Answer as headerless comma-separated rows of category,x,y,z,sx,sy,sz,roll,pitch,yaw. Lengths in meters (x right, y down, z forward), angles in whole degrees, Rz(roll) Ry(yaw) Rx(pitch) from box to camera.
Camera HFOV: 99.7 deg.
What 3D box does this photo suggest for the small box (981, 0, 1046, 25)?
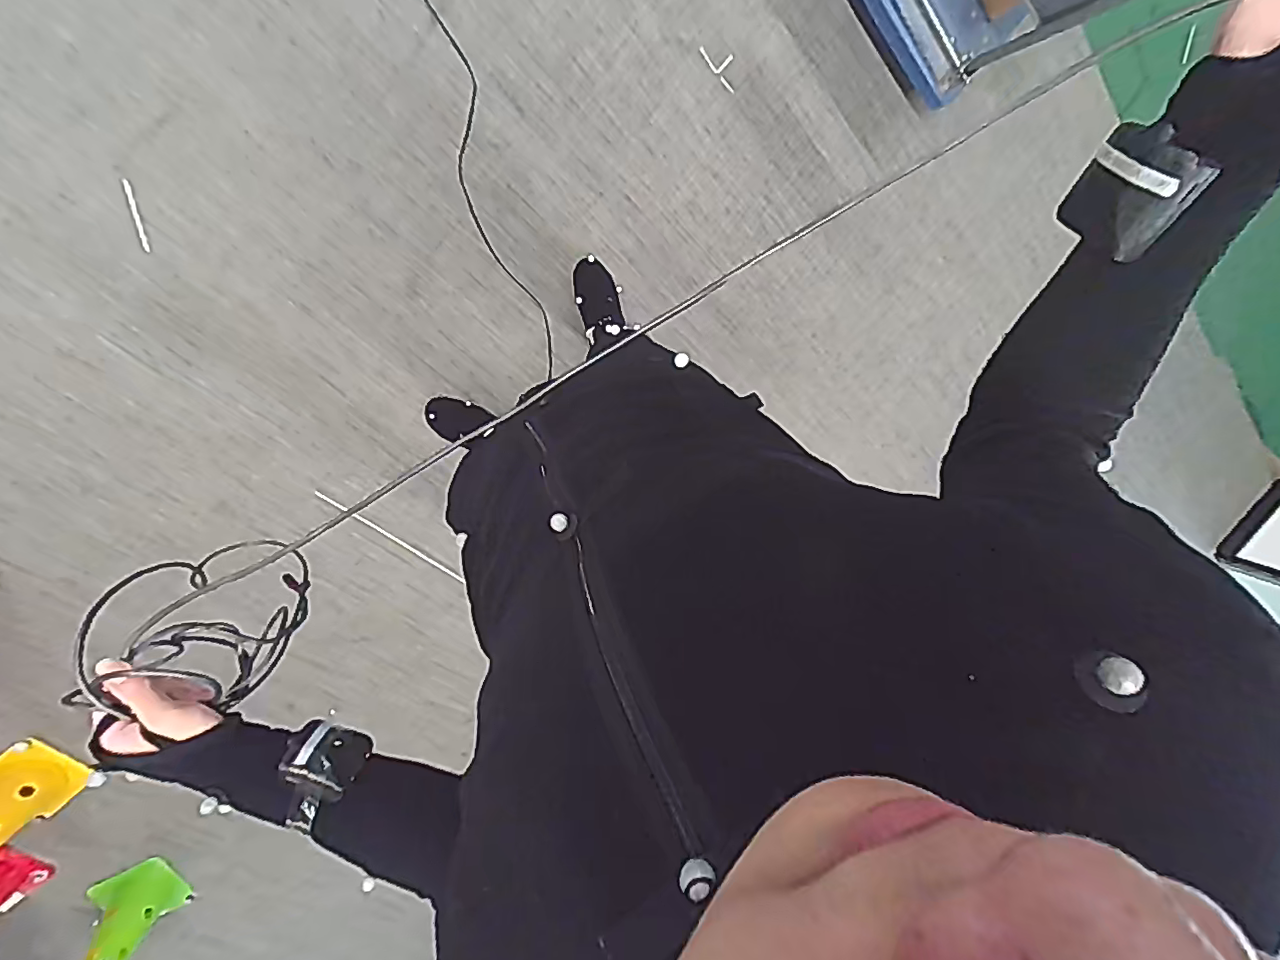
small box,0.937,-1.253,1.284,0.168,0.176,0.179,41,93,-22
